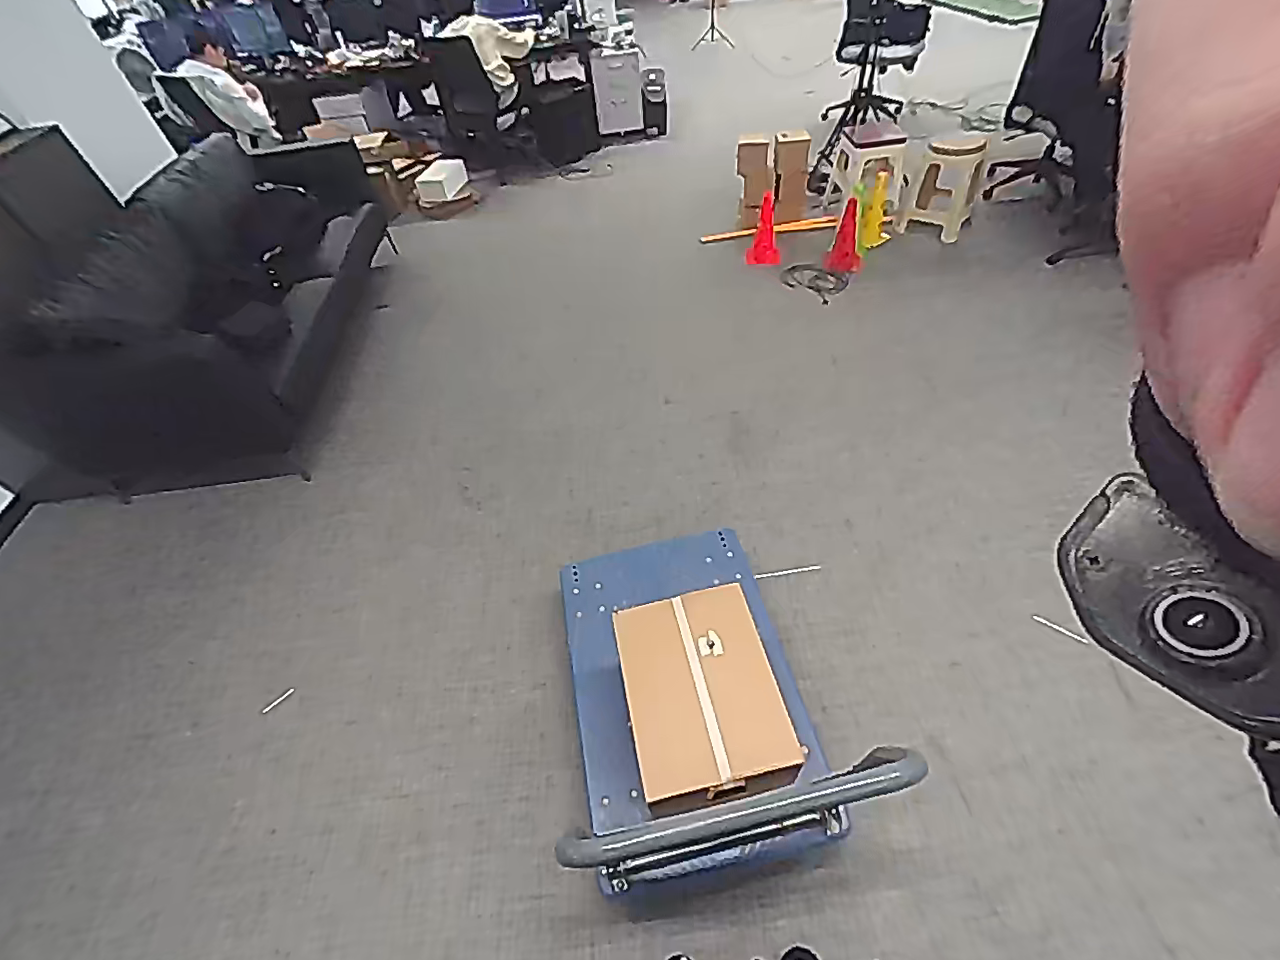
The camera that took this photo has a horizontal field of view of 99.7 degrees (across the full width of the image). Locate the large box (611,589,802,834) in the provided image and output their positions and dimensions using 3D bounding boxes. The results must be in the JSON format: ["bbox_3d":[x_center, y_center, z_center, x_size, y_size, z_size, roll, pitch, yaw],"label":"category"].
[{"bbox_3d":[0.141,0.535,1.261,0.320,0.320,0.408,-13,48,-3],"label":"large box"}]
